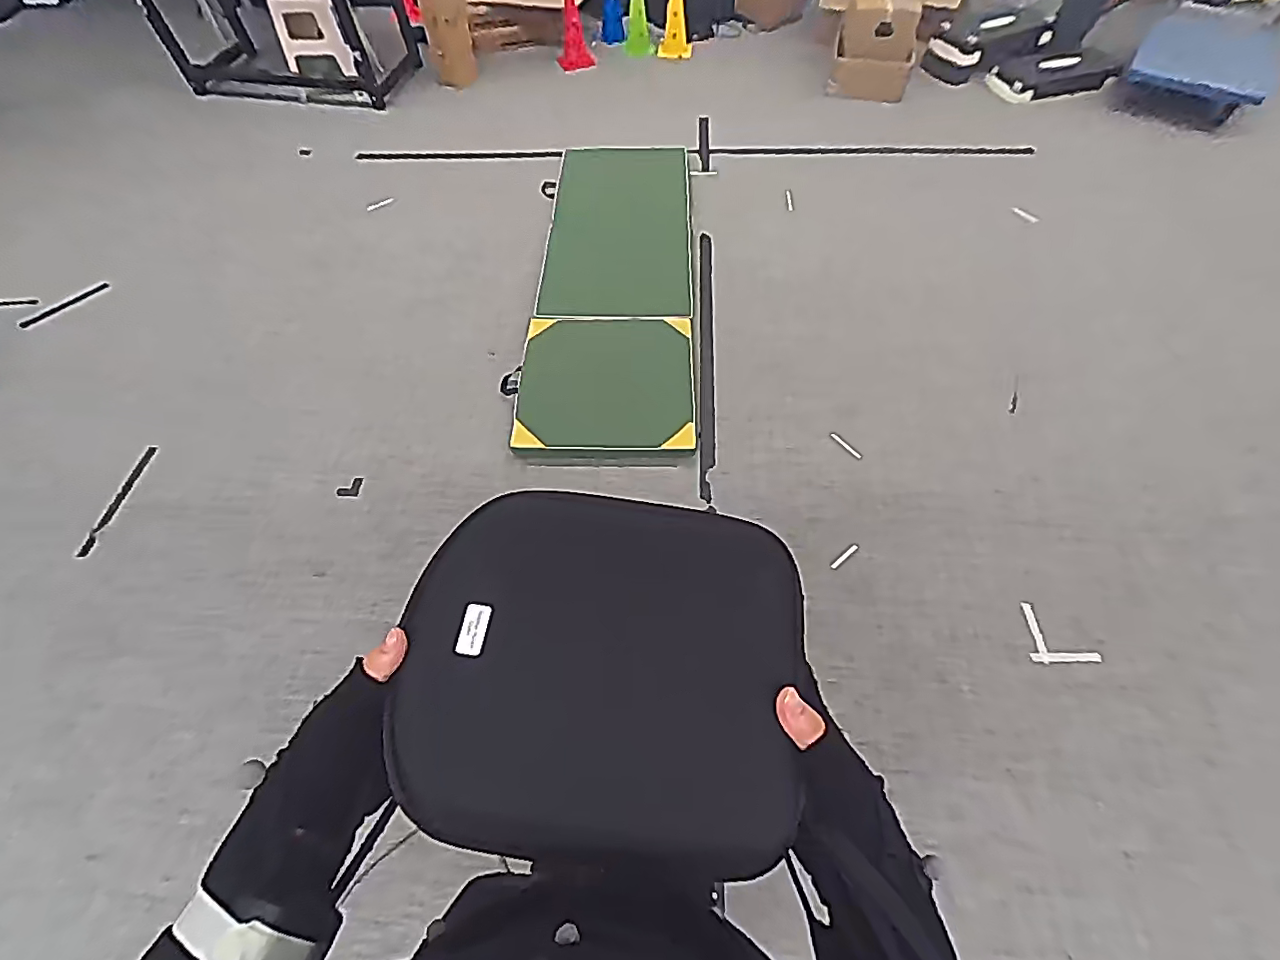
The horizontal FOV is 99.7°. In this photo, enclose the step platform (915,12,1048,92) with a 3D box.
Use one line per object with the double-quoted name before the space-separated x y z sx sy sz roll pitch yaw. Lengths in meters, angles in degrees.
"step platform" 1.925 -2.419 3.047 0.684 0.204 0.286 -24 61 -12
